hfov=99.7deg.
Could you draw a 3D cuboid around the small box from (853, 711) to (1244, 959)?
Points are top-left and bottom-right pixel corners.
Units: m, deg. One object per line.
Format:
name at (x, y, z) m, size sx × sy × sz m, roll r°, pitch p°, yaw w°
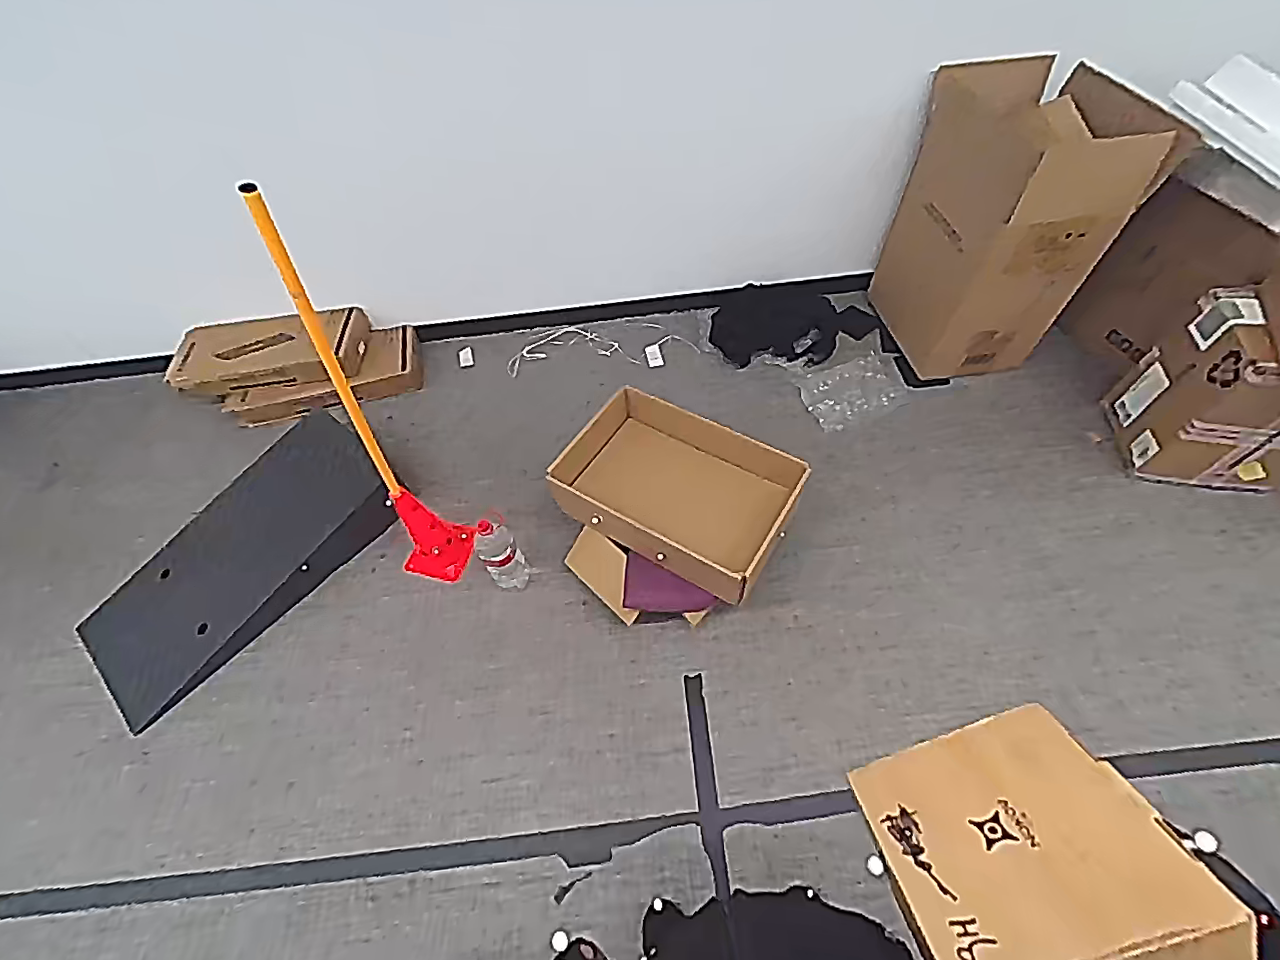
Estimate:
small box at (0.302, 0.328, 0.427) m, size 0.179 × 0.176 × 0.168 m, roll -23°, pitch 19°, yaw 5°
